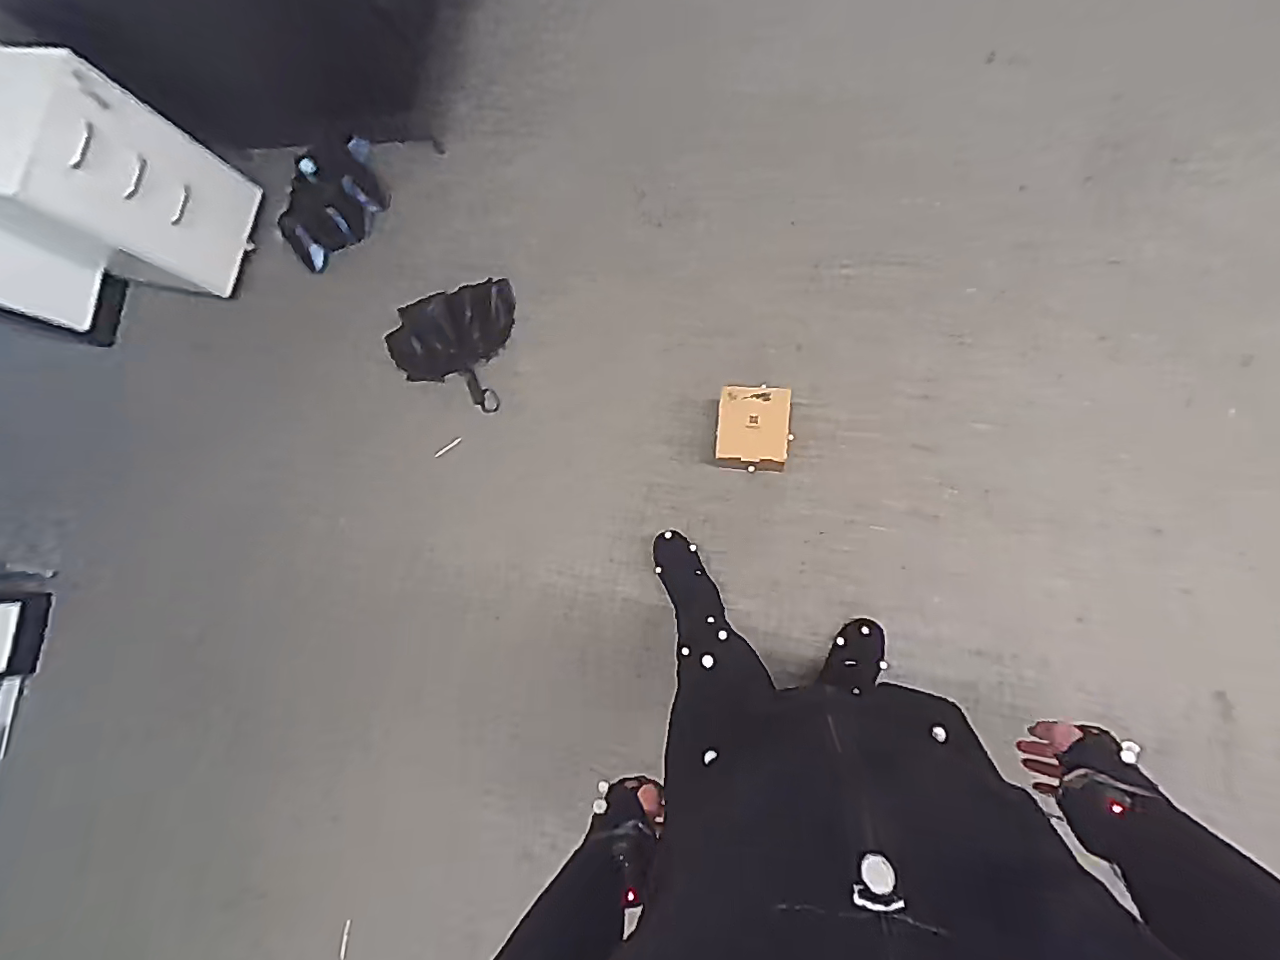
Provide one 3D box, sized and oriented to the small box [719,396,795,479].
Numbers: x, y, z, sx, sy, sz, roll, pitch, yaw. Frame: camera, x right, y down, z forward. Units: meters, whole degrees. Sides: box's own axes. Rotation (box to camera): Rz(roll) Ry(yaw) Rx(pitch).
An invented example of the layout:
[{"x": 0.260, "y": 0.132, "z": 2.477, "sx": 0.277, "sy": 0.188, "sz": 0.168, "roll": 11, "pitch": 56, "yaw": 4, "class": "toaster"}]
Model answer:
[{"x": 0.295, "y": -0.101, "z": 1.341, "sx": 0.168, "sy": 0.176, "sz": 0.179, "roll": 4, "pitch": 83, "yaw": 15, "class": "small box"}]
